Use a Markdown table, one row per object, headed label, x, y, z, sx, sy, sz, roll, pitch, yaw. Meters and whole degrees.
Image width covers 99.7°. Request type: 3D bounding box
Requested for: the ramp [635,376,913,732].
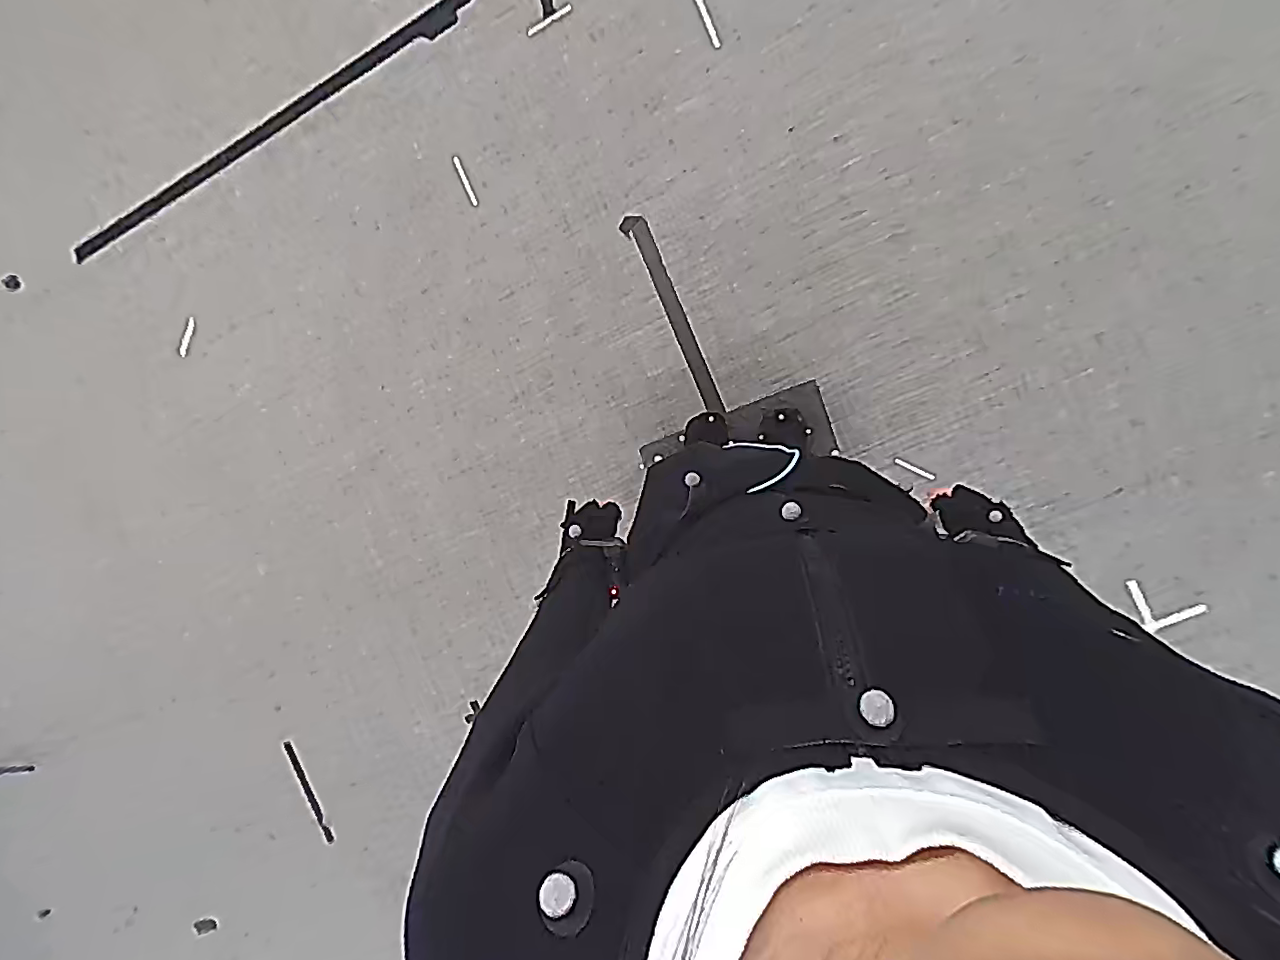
| label | x | y | z | sx | sy | sz | roll | pitch | yaw |
| --- | --- | --- | --- | --- | --- | --- | --- | --- | --- |
| ramp | 0.401 | 0.257 | 1.525 | 0.509 | 0.206 | 0.991 | -23 | 94 | 9 |
